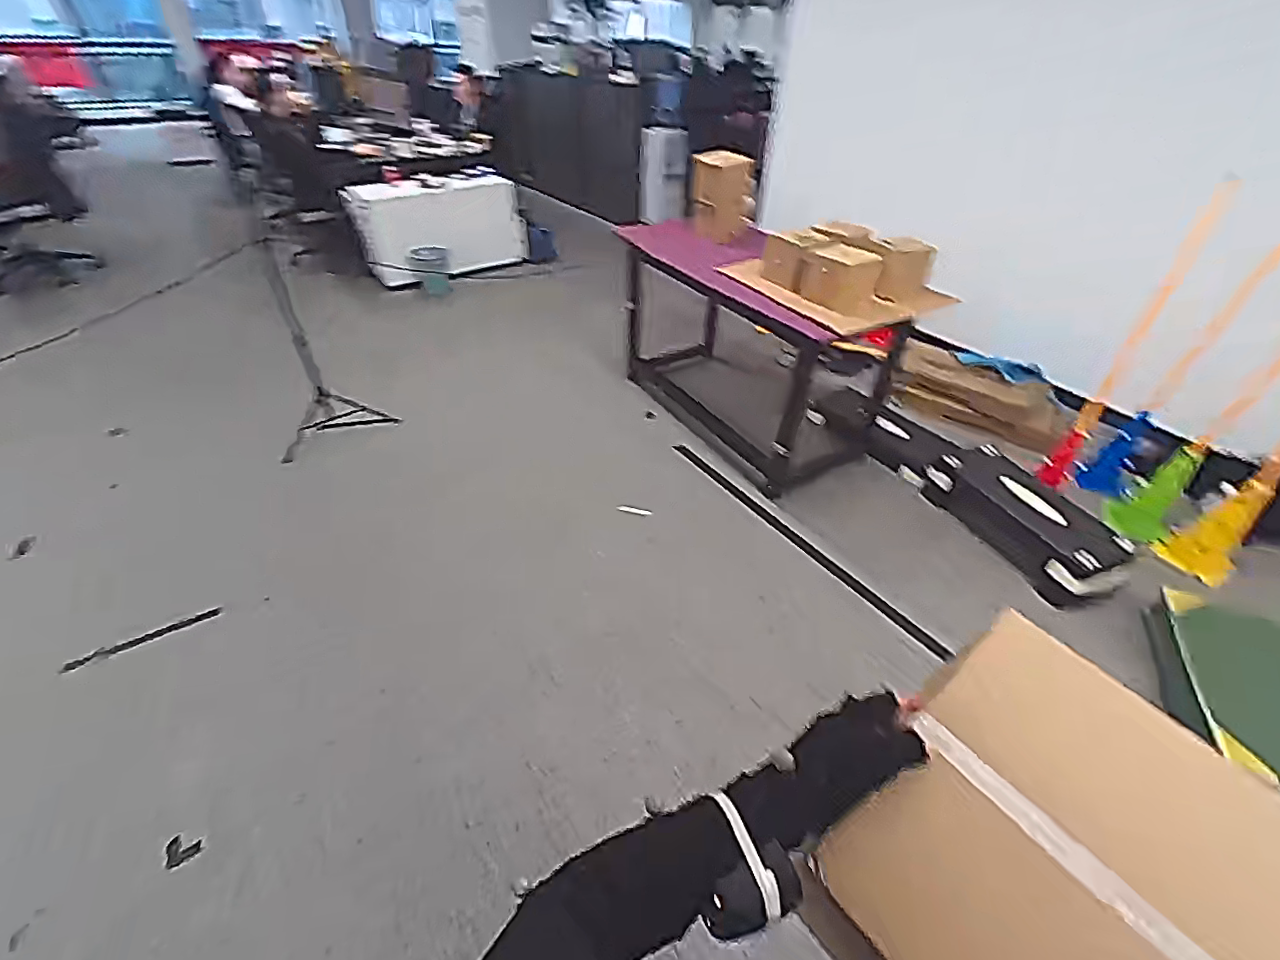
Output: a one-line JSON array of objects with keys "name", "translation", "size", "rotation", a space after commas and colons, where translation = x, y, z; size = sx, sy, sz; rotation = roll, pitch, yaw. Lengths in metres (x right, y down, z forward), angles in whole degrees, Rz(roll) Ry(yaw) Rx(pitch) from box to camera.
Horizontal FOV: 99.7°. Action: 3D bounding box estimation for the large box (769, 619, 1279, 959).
[{"name": "large box", "translation": [0.387, 0.419, 0.509], "size": [0.320, 0.320, 0.408], "rotation": [-37, 58, -19]}]
